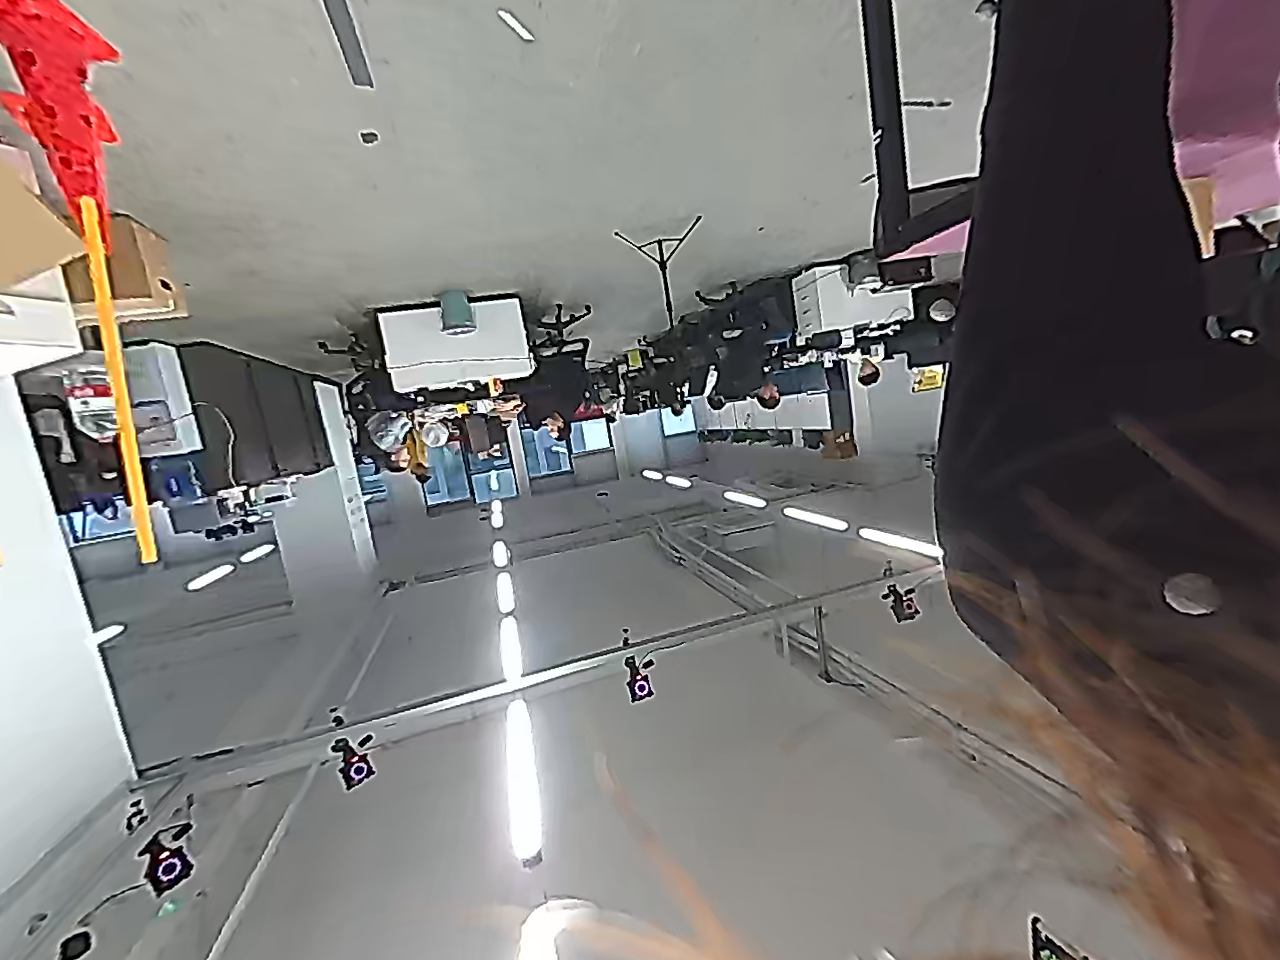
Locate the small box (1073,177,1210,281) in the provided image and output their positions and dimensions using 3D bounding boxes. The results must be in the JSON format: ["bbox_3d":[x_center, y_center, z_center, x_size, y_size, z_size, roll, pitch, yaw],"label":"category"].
[{"bbox_3d":[1.127,-0.572,1.232,0.168,0.176,0.179,-10,-172,-6],"label":"small box"}]
